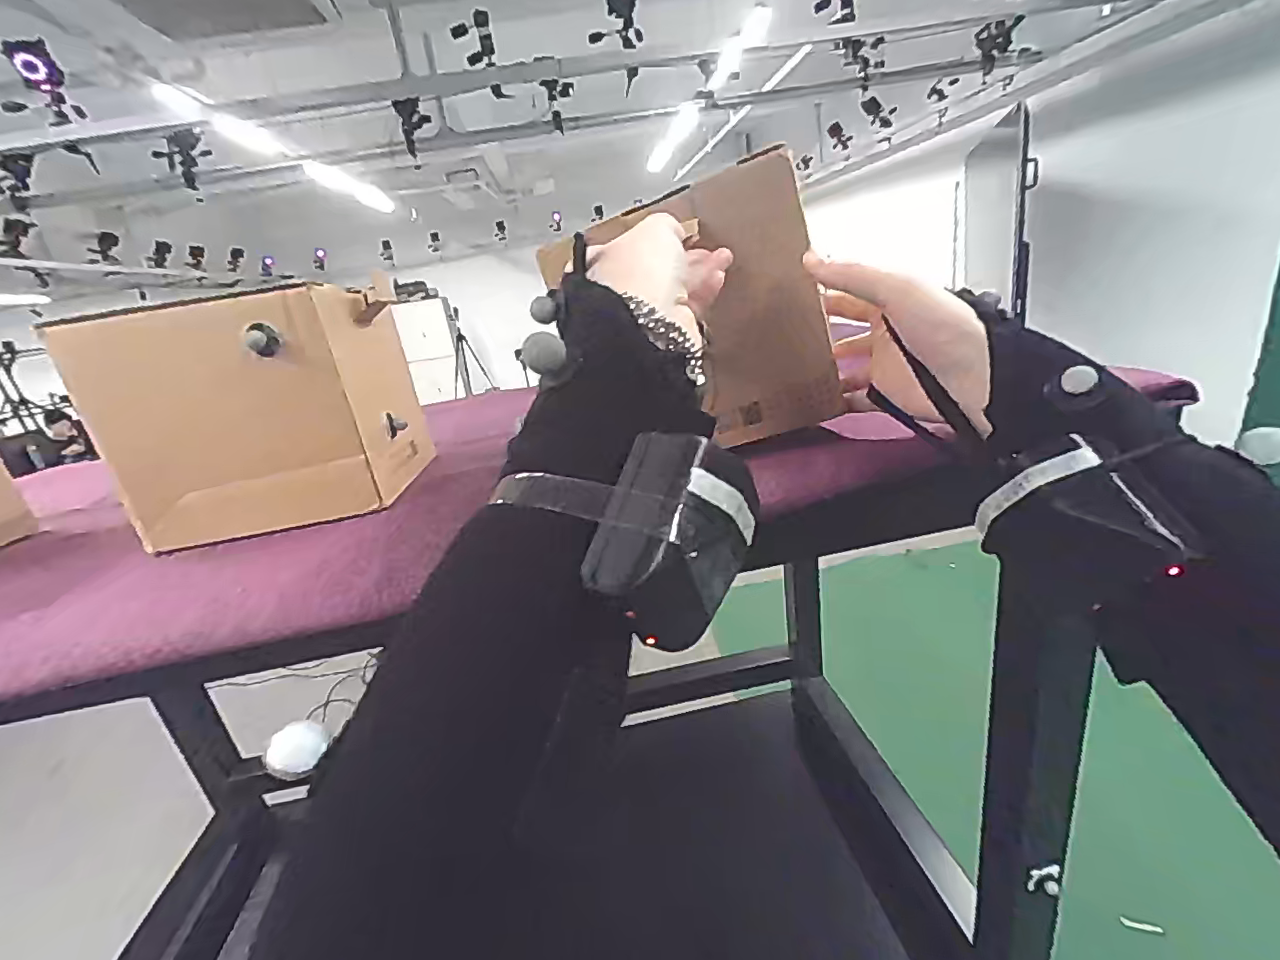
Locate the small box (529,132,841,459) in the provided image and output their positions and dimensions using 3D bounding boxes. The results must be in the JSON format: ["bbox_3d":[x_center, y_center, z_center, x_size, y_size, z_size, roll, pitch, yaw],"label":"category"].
[{"bbox_3d":[0.042,-0.129,0.417,0.168,0.176,0.179,-15,20,13],"label":"small box"}]

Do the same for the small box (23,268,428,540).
[{"bbox_3d":[-0.299,-0.065,0.442,0.179,0.176,0.168,-11,18,-4],"label":"small box"}]
